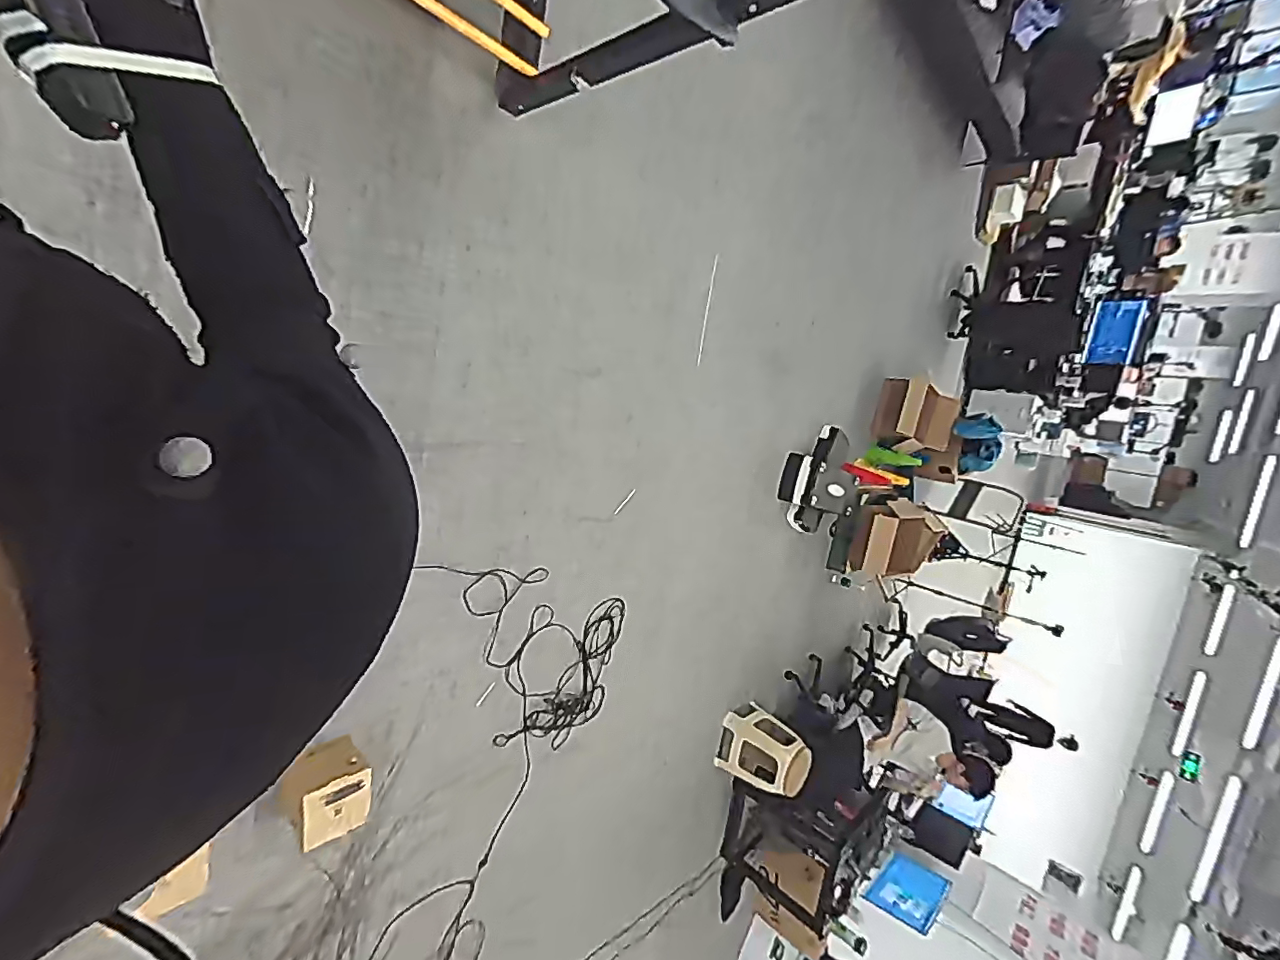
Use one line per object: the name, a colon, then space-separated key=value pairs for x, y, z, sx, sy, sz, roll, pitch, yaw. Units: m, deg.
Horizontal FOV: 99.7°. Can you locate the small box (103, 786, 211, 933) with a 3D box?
small box: x=-1.094 y=0.845 z=1.226 sx=0.168 sy=0.176 sz=0.179 roll=-3 pitch=103 yaw=-49
